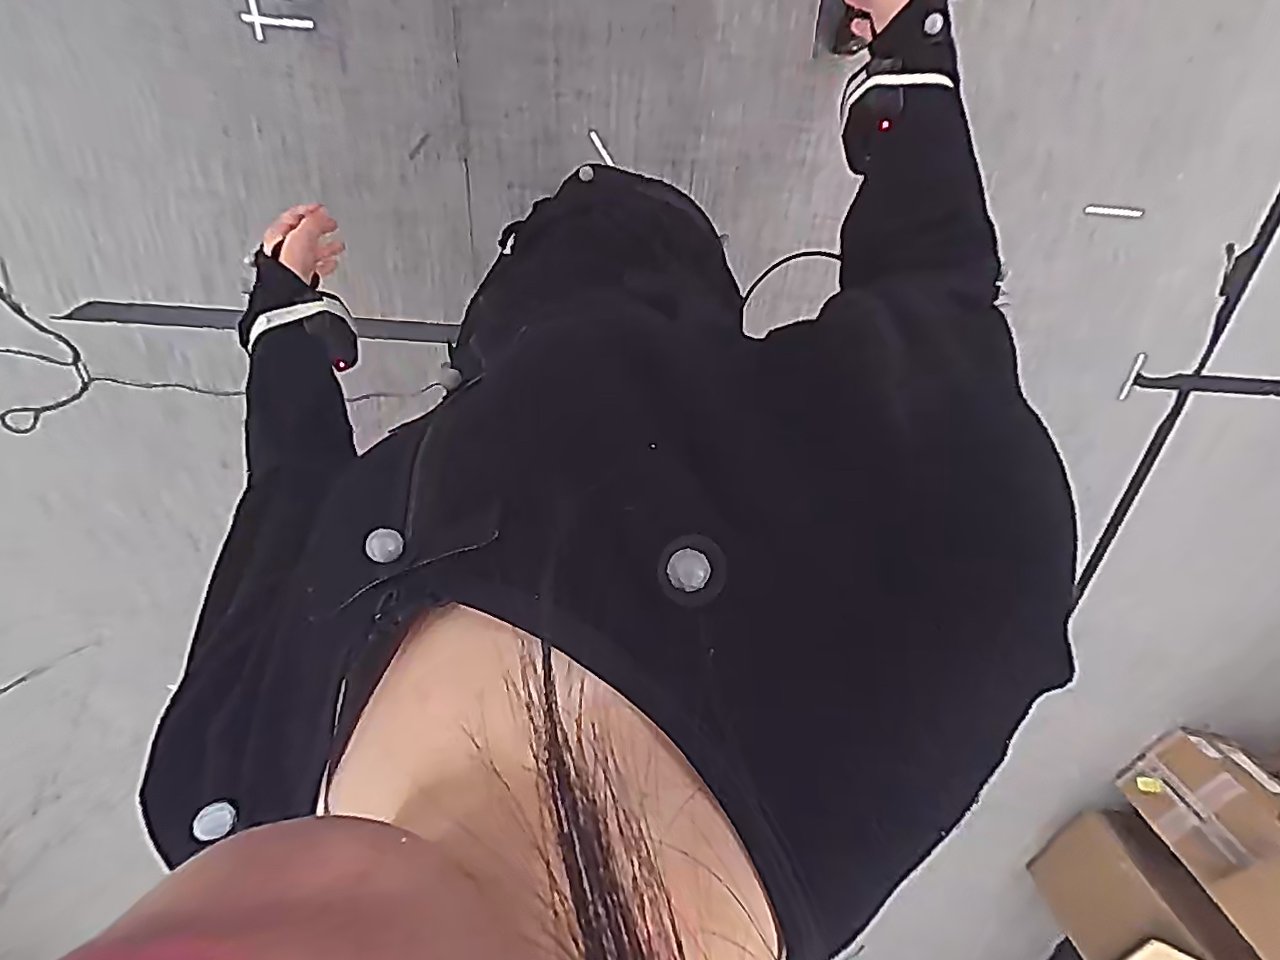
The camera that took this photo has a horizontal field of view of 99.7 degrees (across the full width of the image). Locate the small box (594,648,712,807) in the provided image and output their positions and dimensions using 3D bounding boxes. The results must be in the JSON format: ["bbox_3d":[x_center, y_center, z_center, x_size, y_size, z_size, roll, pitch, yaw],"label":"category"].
[{"bbox_3d":[0.011,0.388,0.869,0.168,0.176,0.179,1,118,-5],"label":"small box"}]
